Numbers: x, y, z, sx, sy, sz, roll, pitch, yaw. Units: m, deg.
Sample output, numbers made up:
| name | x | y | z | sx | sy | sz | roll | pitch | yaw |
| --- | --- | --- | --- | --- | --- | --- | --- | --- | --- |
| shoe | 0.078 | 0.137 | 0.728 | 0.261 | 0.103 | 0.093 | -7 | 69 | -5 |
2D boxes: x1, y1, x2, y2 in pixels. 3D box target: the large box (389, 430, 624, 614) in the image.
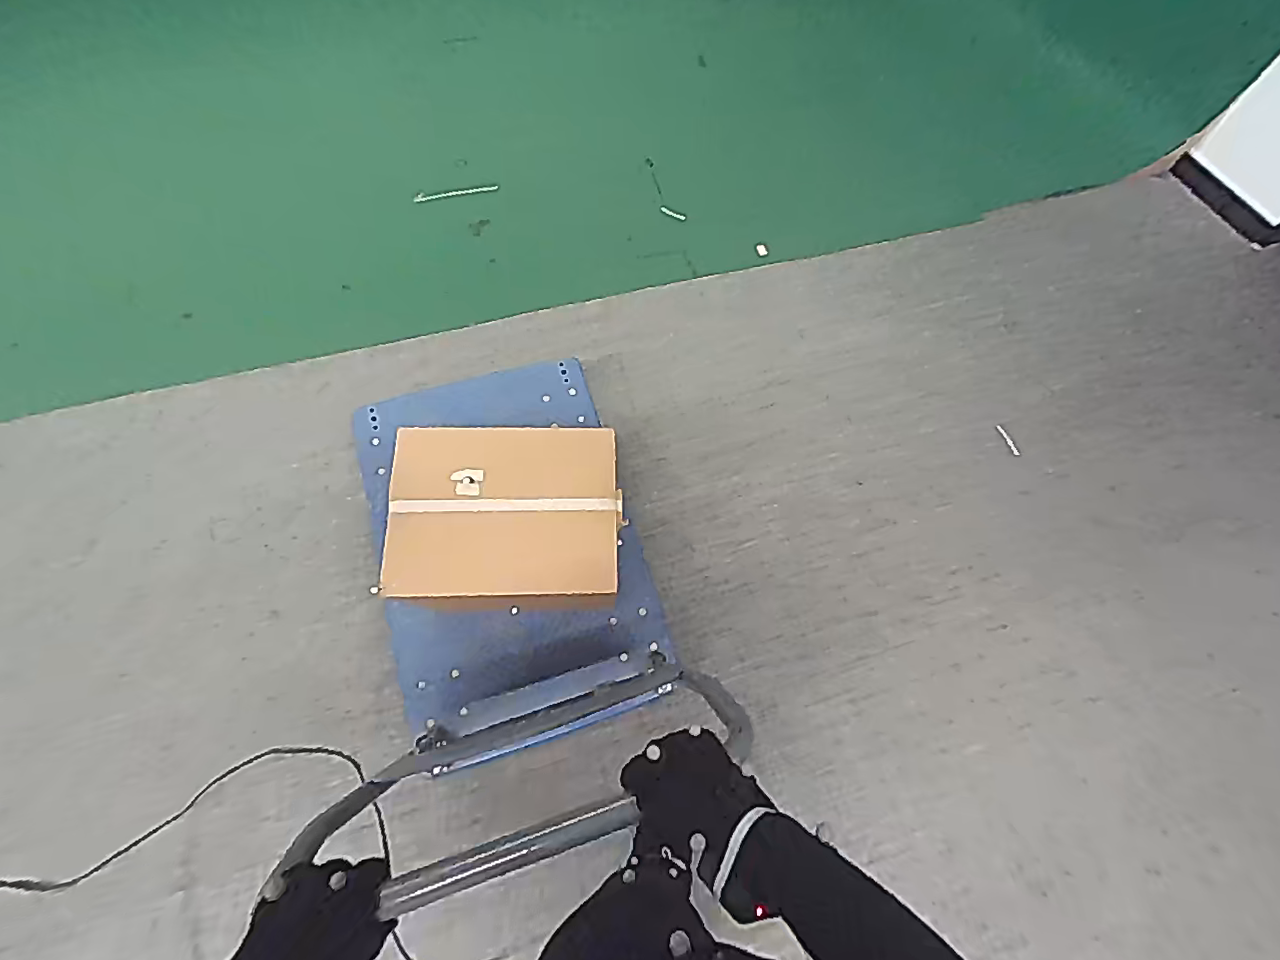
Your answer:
| name | x | y | z | sx | sy | sz | roll | pitch | yaw |
| --- | --- | --- | --- | --- | --- | --- | --- | --- | --- |
| large box | -0.241 | 0.103 | 1.113 | 0.408 | 0.320 | 0.320 | -2 | 71 | -3 |
